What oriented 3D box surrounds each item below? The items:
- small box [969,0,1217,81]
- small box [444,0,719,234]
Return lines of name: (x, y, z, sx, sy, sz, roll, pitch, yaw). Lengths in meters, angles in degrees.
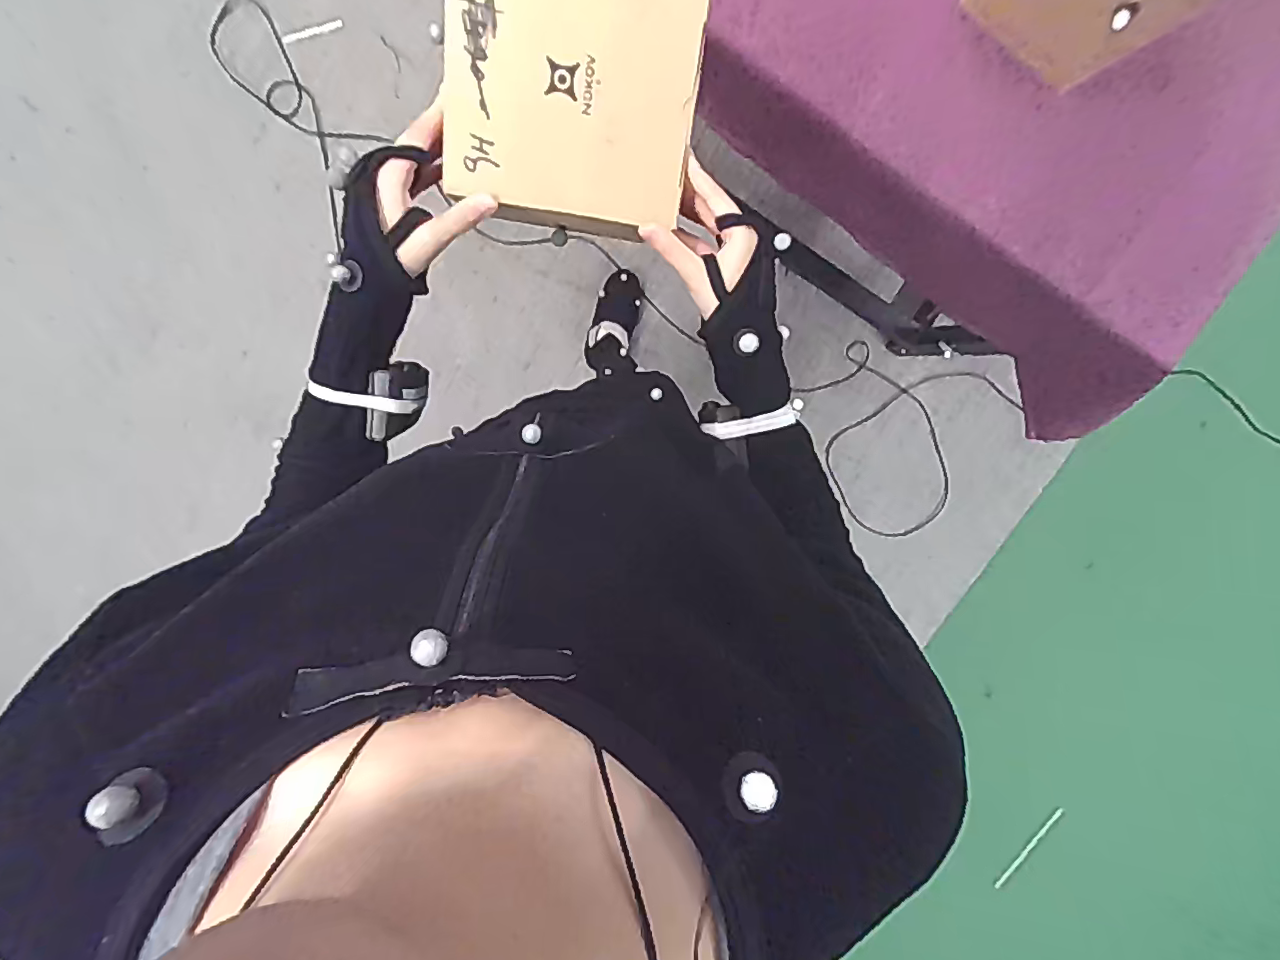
small box: (0.502, -0.566, 0.563, 0.179, 0.176, 0.168, 32, 99, -9)
small box: (-0.055, -0.308, 0.448, 0.179, 0.176, 0.168, 6, 110, -12)
